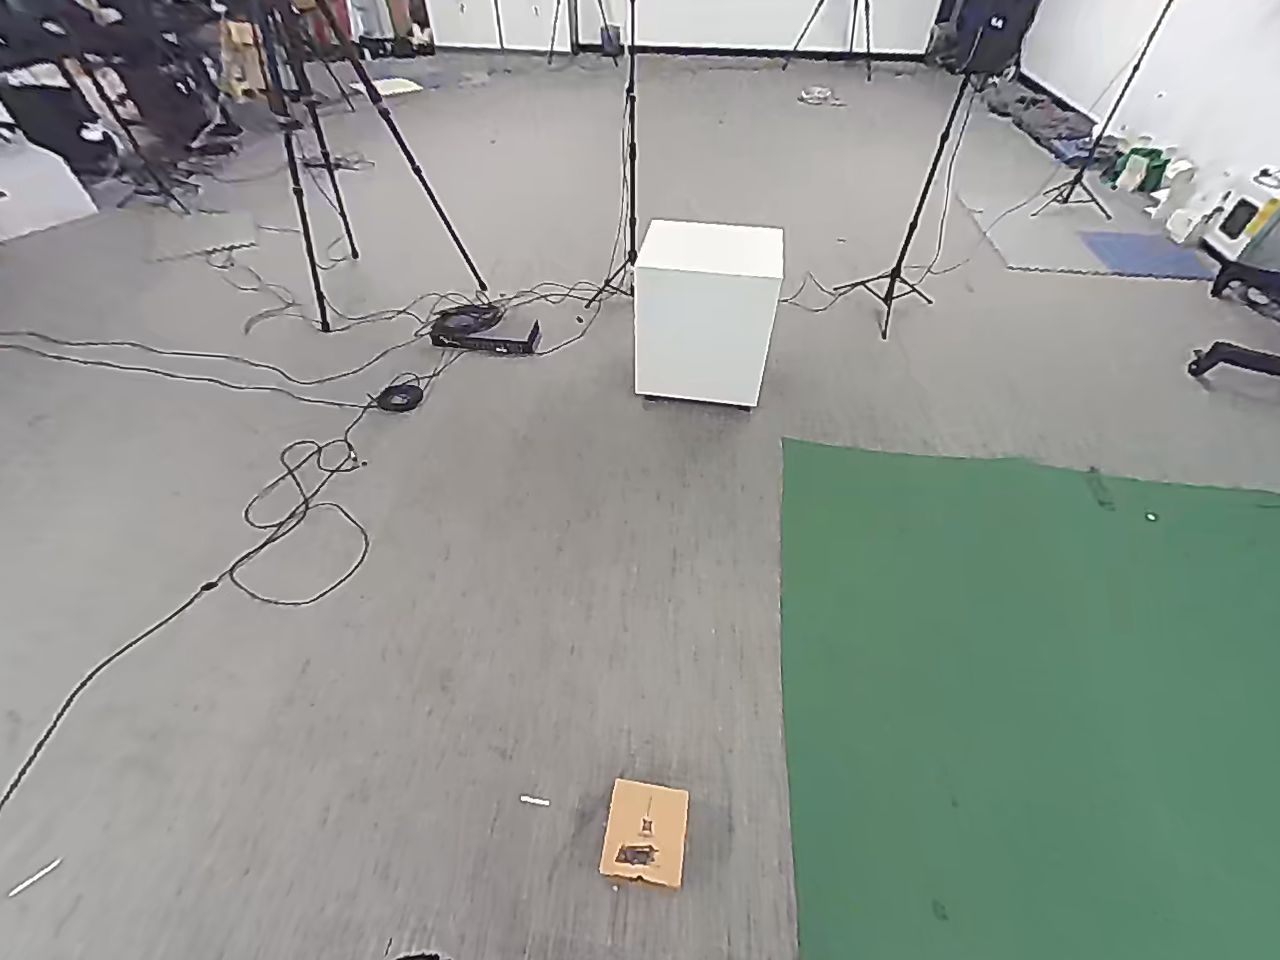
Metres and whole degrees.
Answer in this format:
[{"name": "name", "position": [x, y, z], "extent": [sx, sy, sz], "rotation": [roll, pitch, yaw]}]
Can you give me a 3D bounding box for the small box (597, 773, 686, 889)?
[{"name": "small box", "position": [0.007, 0.774, 1.186], "extent": [0.168, 0.176, 0.179], "rotation": [7, 48, 6]}]
